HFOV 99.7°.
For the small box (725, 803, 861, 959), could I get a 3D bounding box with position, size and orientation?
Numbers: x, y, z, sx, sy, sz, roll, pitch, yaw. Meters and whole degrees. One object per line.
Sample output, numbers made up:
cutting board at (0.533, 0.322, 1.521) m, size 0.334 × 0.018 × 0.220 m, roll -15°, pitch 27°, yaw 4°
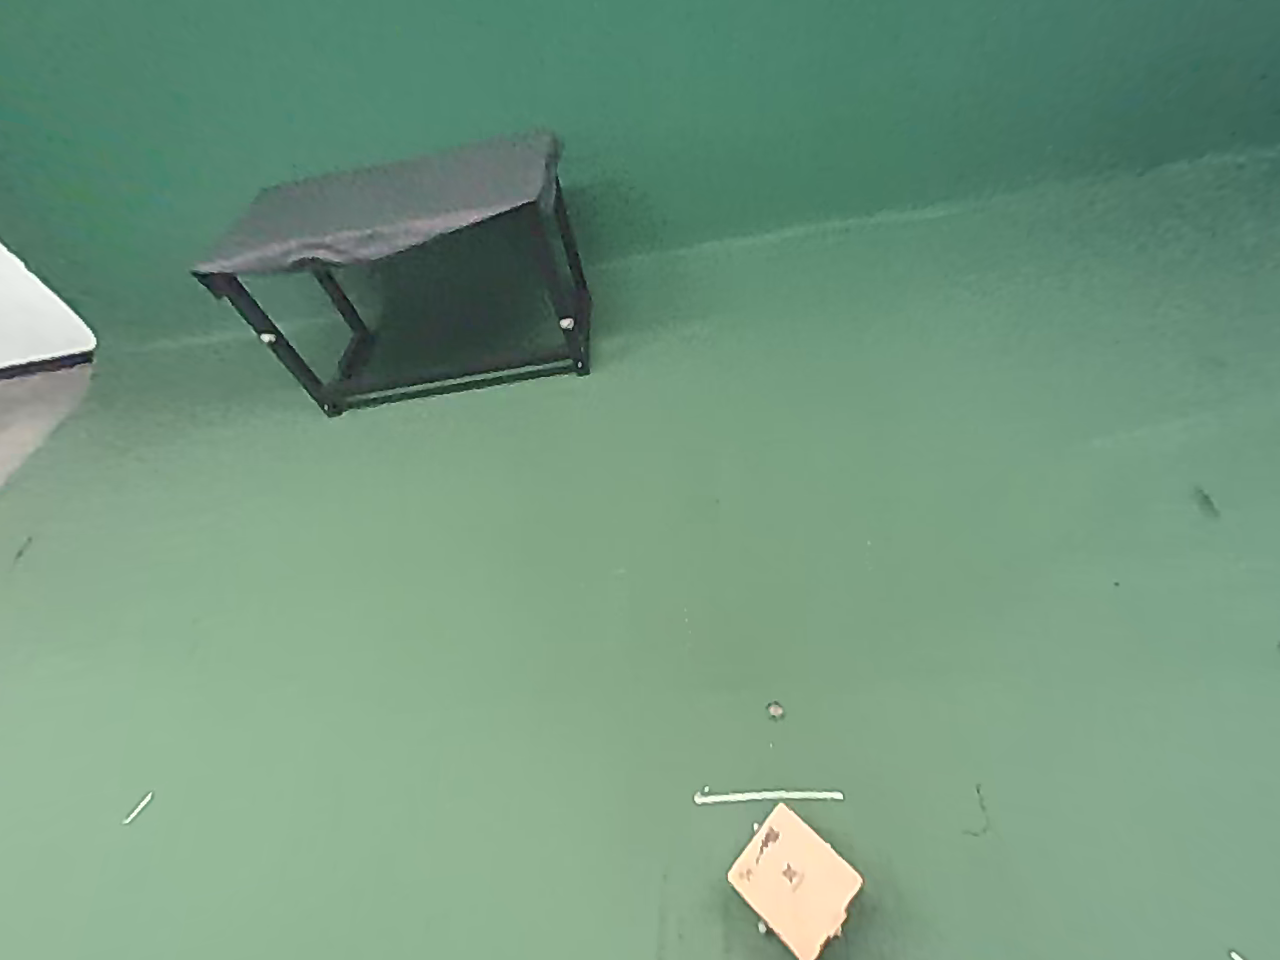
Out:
small box at (0.279, 0.746, 1.007) m, size 0.168 × 0.176 × 0.179 m, roll -41°, pitch 54°, yaw -21°
